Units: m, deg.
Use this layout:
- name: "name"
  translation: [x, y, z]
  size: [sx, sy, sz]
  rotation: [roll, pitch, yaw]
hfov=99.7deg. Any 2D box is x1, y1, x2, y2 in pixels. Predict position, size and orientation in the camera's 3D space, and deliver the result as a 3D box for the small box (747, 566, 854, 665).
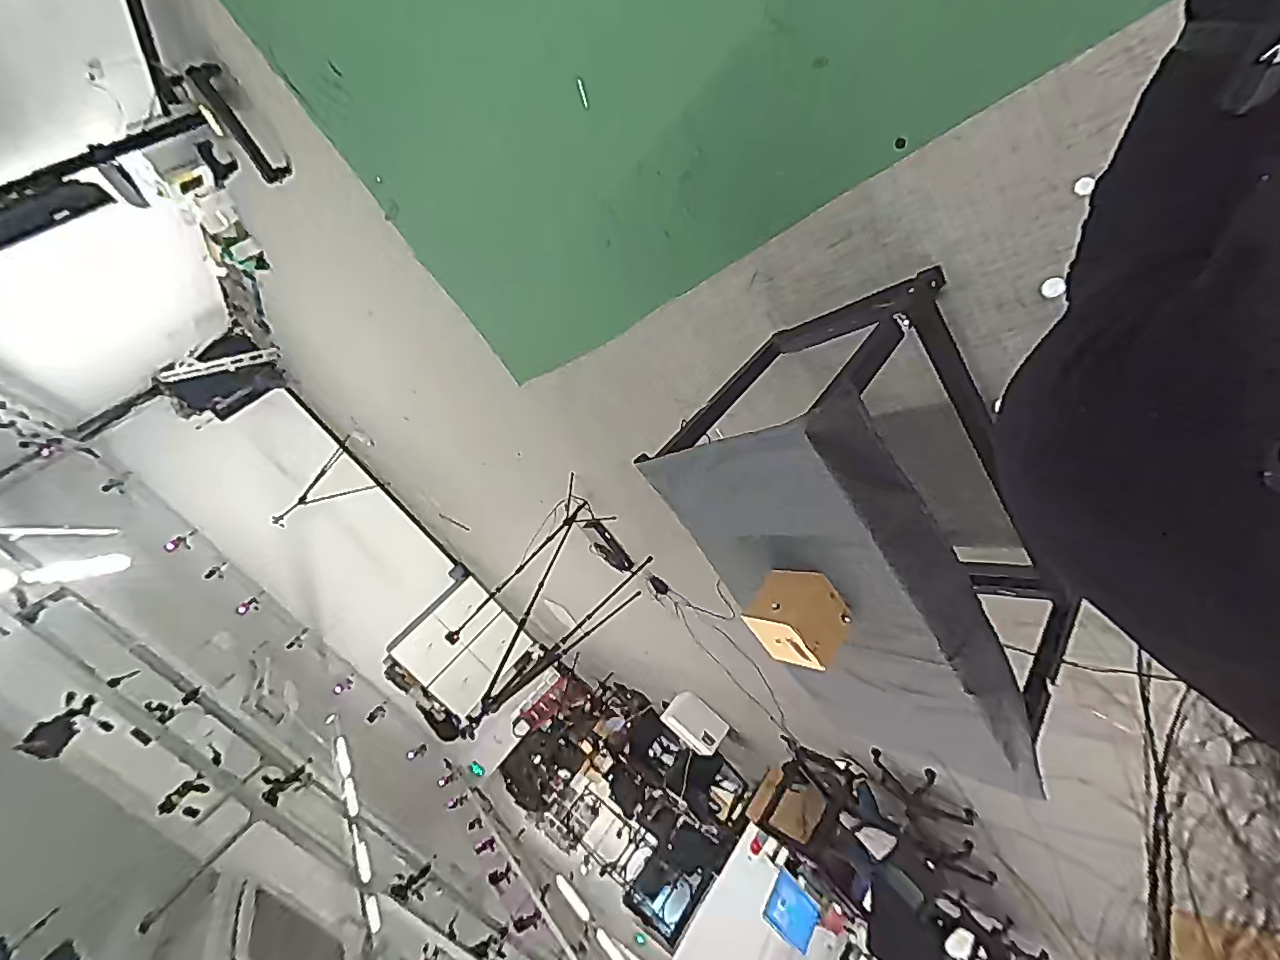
- name: "small box"
  translation: [0.416, 0.337, 1.378]
  size: [0.168, 0.176, 0.179]
  rotation: [52, 154, -16]
